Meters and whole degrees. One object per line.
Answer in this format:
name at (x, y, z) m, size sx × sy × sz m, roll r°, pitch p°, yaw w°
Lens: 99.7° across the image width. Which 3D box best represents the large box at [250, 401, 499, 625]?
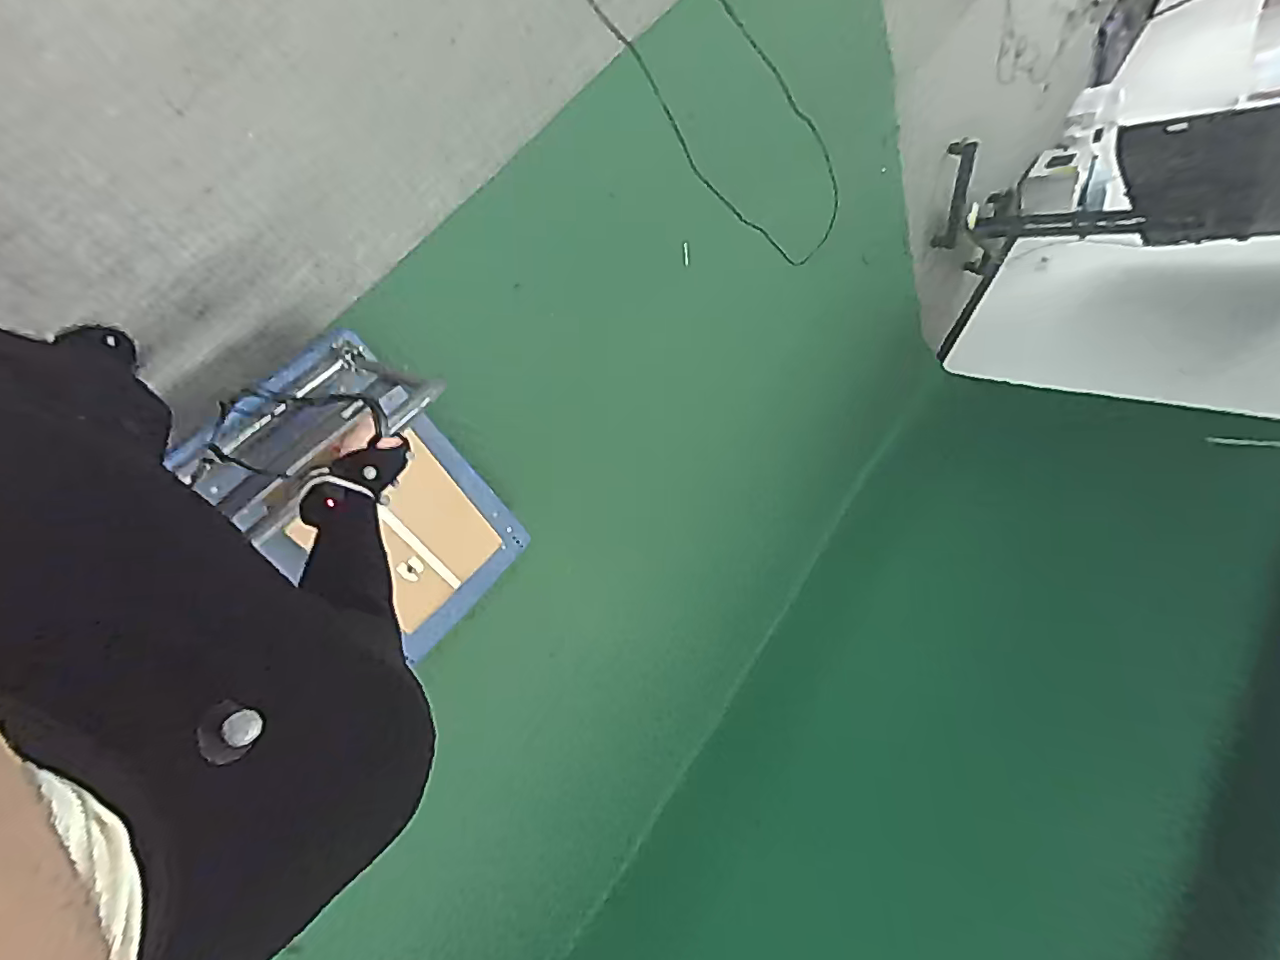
large box at (-0.636, 0.073, 1.324) m, size 0.320 × 0.320 × 0.408 m, roll -46°, pitch 134°, yaw -21°
